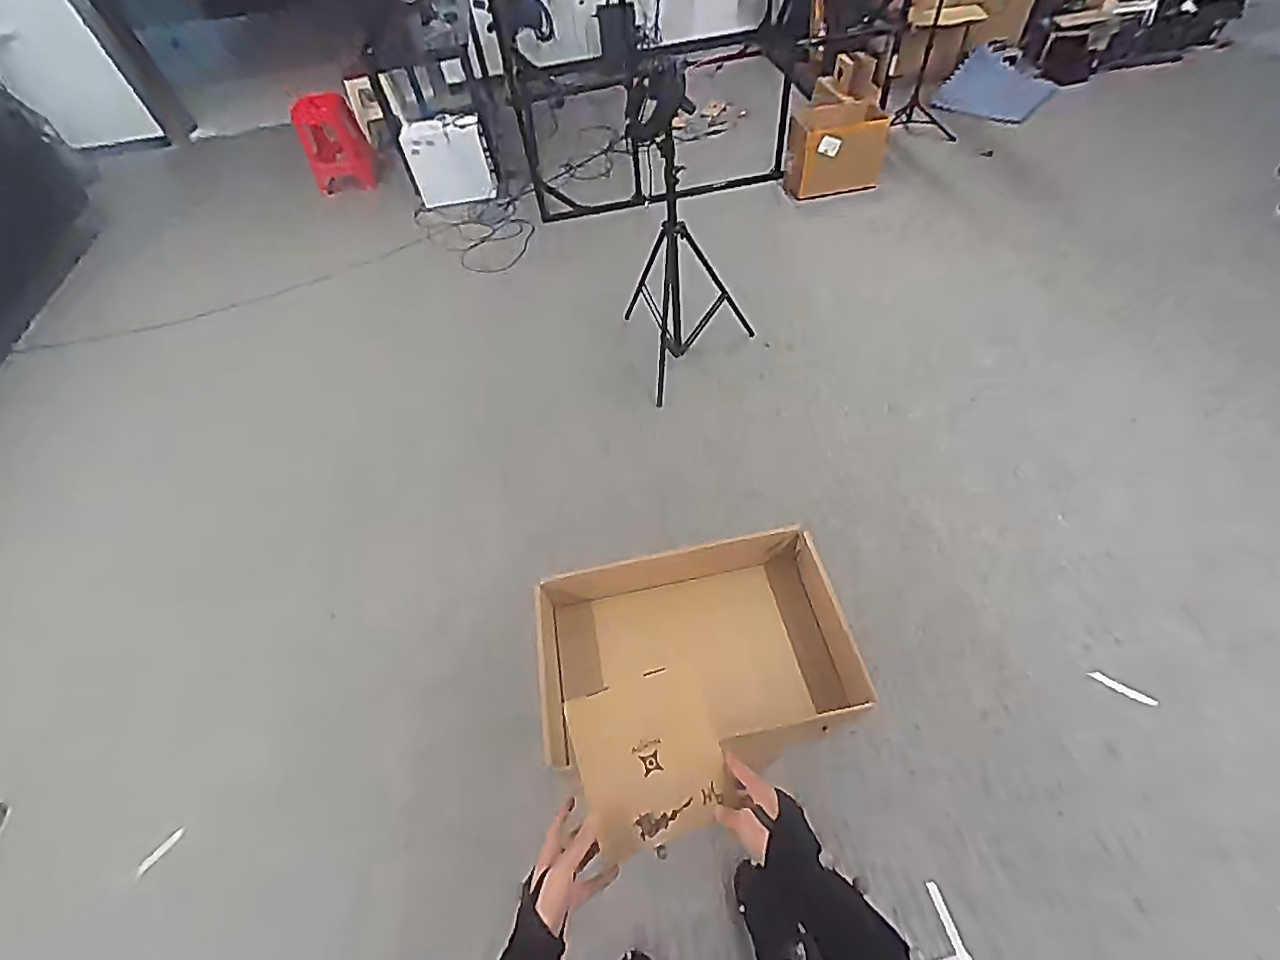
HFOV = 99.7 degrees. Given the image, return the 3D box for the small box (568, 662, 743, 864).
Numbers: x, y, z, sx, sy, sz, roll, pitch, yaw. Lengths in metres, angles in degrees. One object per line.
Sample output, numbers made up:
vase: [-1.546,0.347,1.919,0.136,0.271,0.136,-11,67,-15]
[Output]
small box: [0.011,0.362,0.700,0.168,0.176,0.179,-16,62,-11]
